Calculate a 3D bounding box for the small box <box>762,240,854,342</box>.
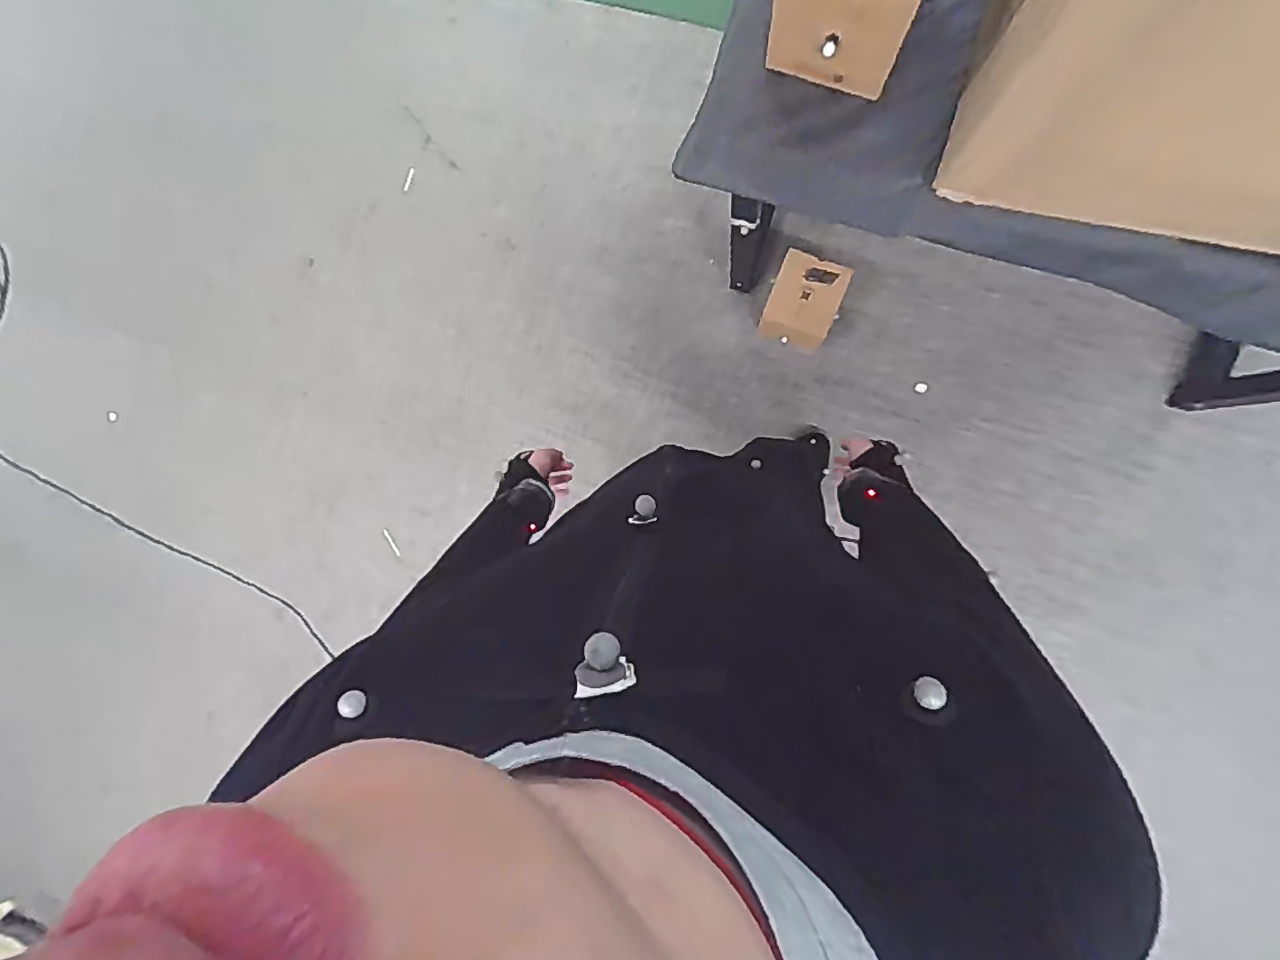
[{"bbox_3d":[0.422,-0.478,1.391,0.168,0.176,0.179,23,97,8],"label":"small box"}]
